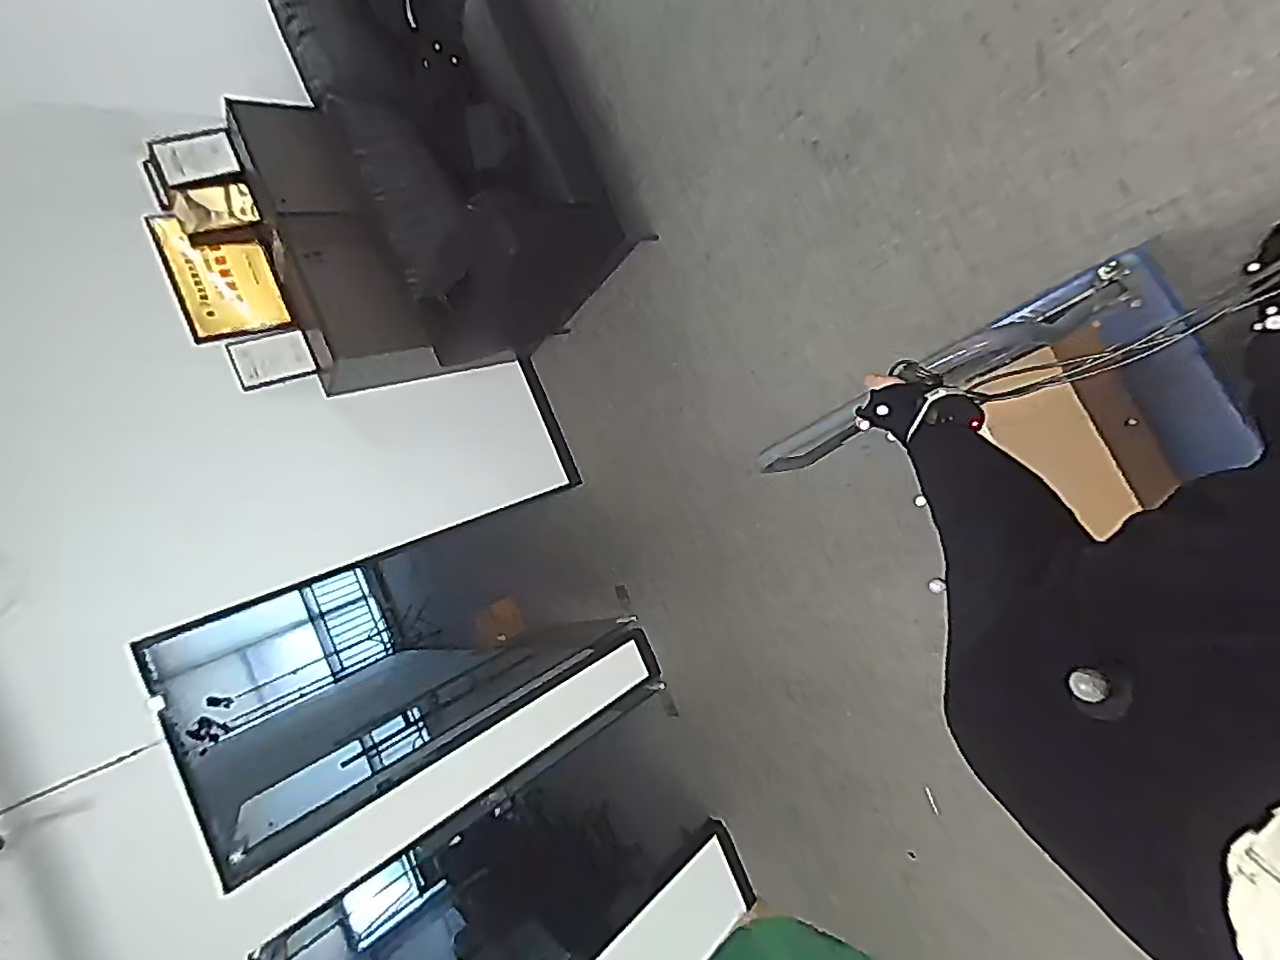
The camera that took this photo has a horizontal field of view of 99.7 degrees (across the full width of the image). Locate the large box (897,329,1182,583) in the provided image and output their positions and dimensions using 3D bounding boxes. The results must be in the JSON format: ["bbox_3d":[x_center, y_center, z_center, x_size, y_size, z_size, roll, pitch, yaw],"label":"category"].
[{"bbox_3d":[0.835,-0.052,1.141,0.320,0.320,0.408,-32,82,52],"label":"large box"}]
